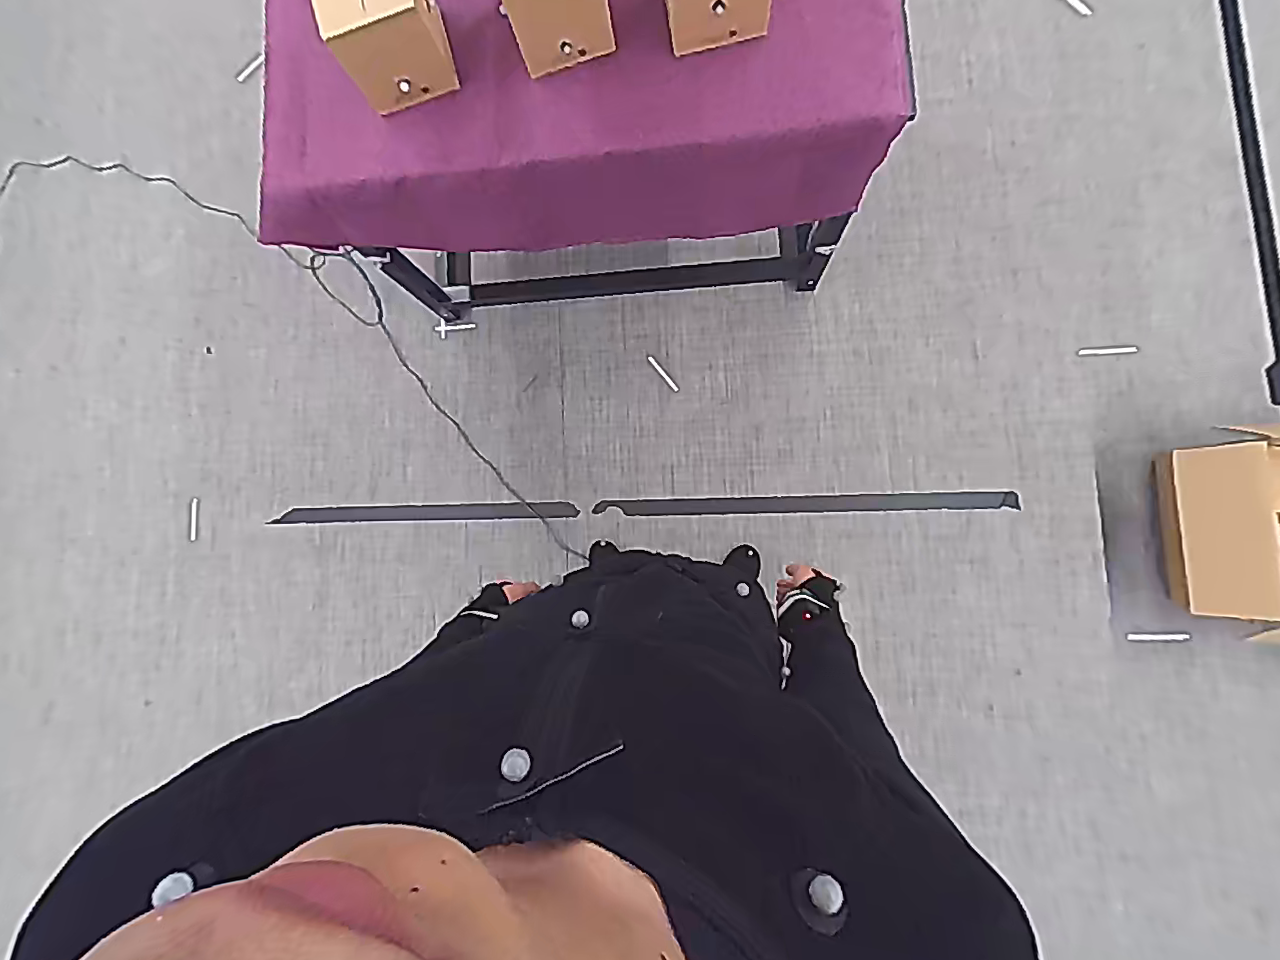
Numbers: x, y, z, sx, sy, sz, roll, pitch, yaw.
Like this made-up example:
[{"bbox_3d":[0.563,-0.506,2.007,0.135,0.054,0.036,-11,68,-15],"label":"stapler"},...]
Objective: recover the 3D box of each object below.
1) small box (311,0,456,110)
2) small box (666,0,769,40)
[{"bbox_3d":[-0.446,-0.802,0.940,0.168,0.176,0.179,-16,85,5],"label":"small box"},{"bbox_3d":[0.121,-0.866,0.880,0.168,0.176,0.179,-9,84,5],"label":"small box"}]
